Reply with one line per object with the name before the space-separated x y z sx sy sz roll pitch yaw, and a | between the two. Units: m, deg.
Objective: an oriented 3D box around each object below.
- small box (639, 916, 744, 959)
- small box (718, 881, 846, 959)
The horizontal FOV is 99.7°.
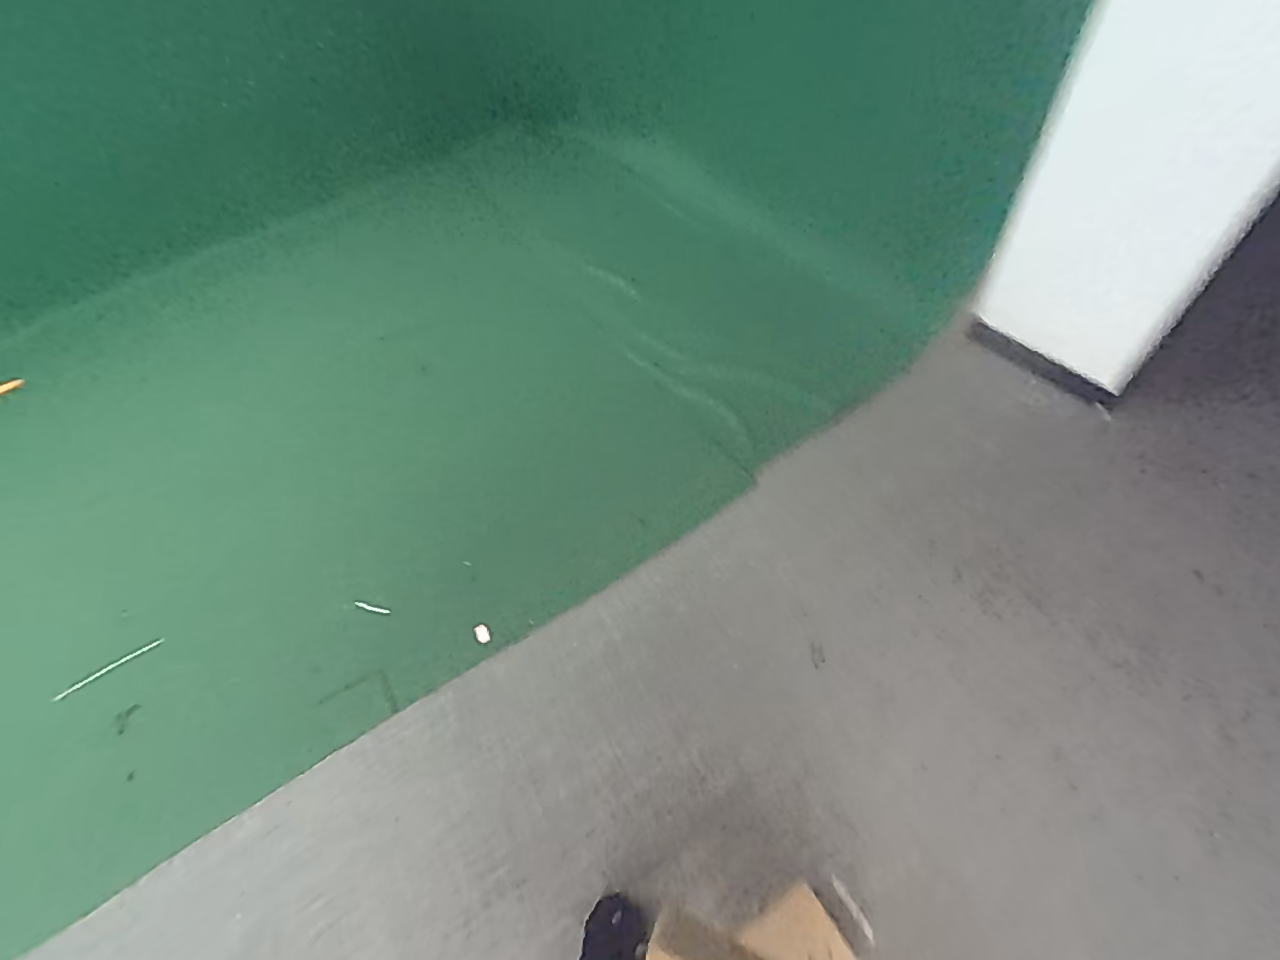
small box | 0.048 0.414 0.327 0.168 0.176 0.179 19 66 16
small box | 0.256 0.848 0.962 0.179 0.176 0.168 -30 55 -10
